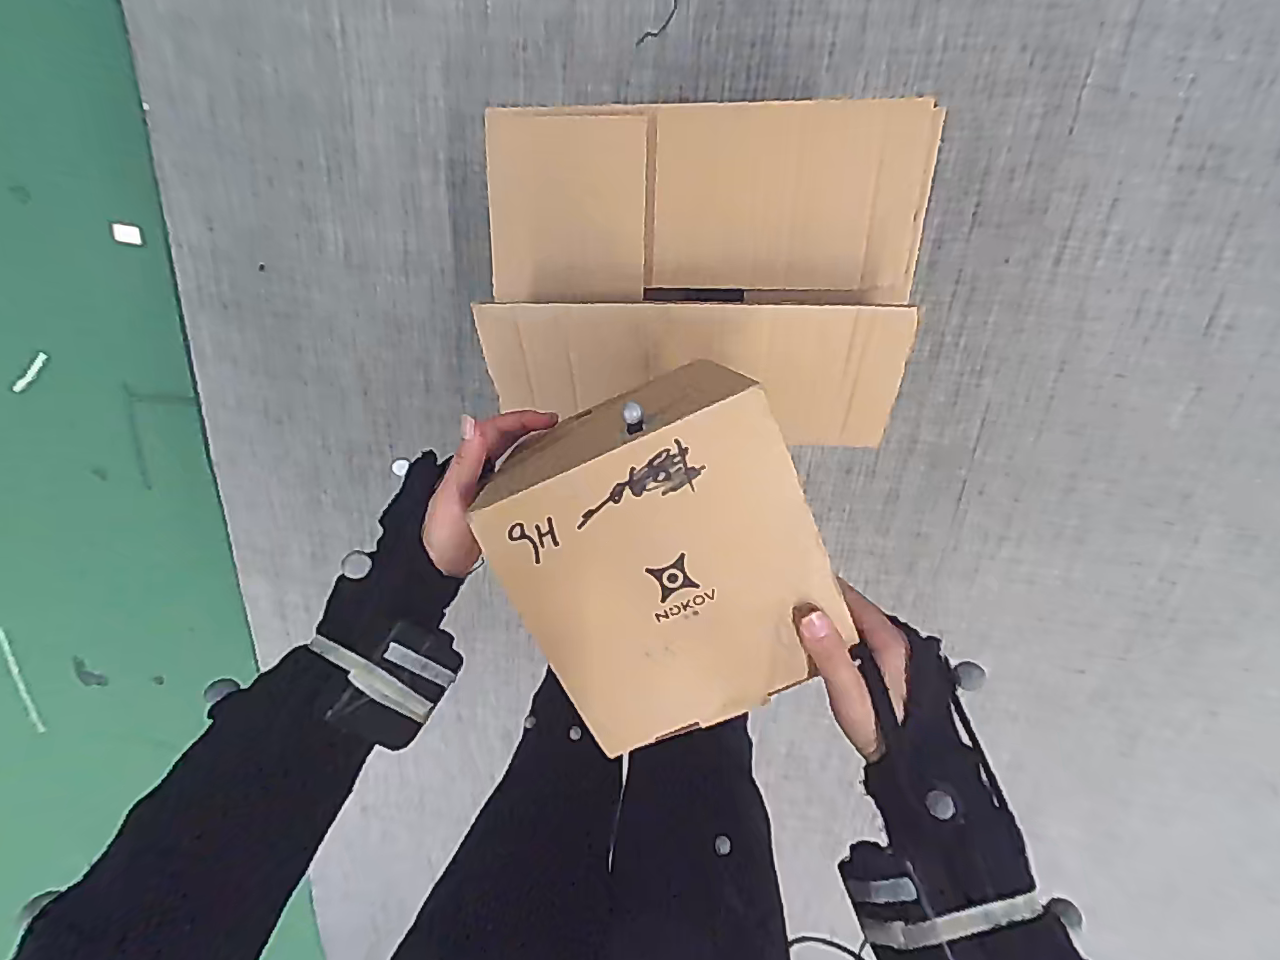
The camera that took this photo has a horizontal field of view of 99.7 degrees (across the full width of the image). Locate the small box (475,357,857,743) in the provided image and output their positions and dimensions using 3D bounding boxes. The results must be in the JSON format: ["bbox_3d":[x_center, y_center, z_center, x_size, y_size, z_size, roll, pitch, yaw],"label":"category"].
[{"bbox_3d":[0.018,0.032,0.373,0.168,0.176,0.179,-24,108,4],"label":"small box"}]
